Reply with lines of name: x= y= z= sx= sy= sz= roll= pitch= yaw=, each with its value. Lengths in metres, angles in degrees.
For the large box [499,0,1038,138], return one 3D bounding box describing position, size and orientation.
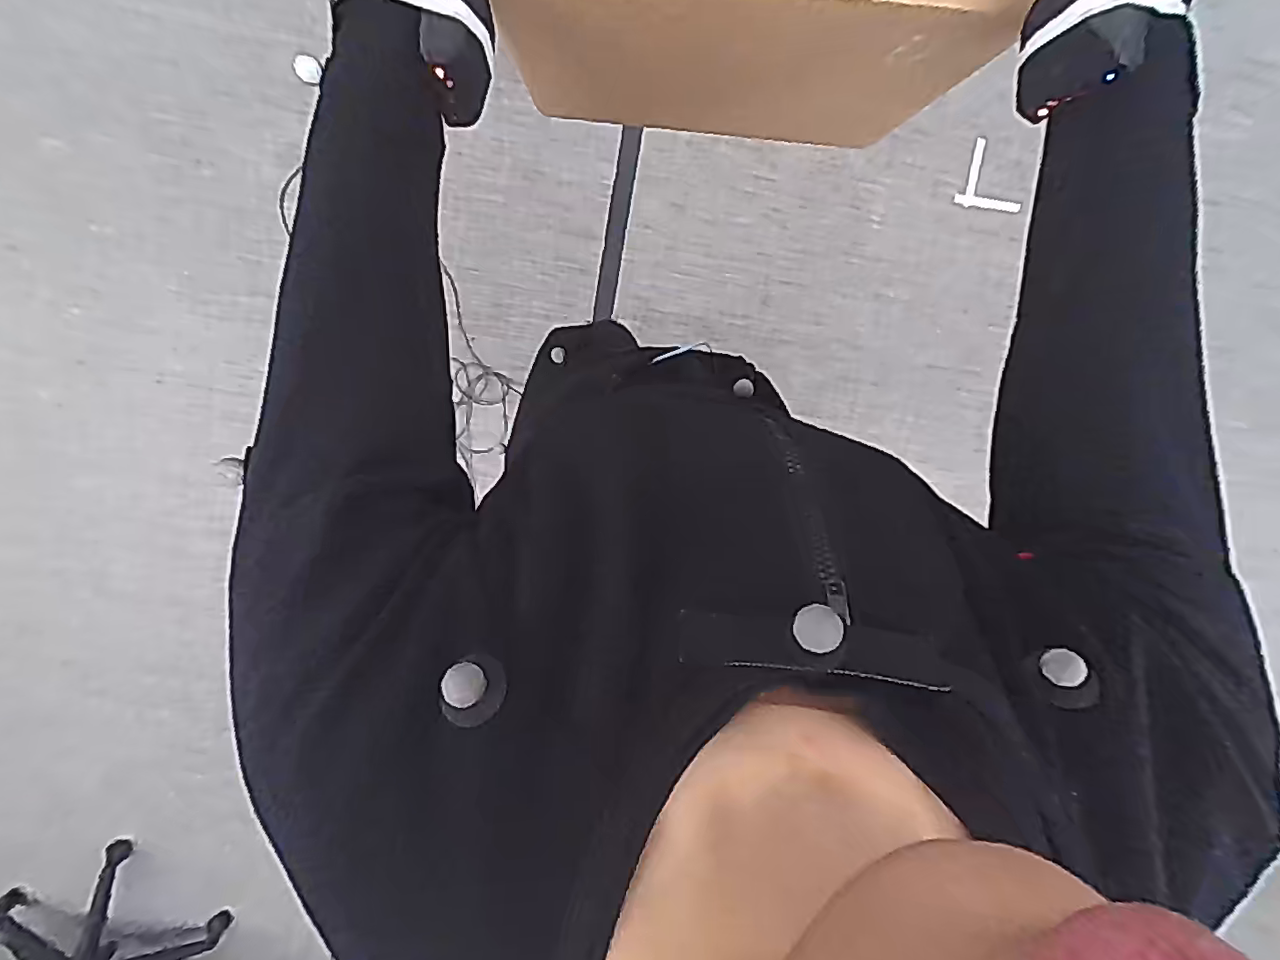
large box: x=0.091 y=-0.531 z=0.472 sx=0.408 sy=0.320 sz=0.320 roll=4 pitch=108 yaw=-3
